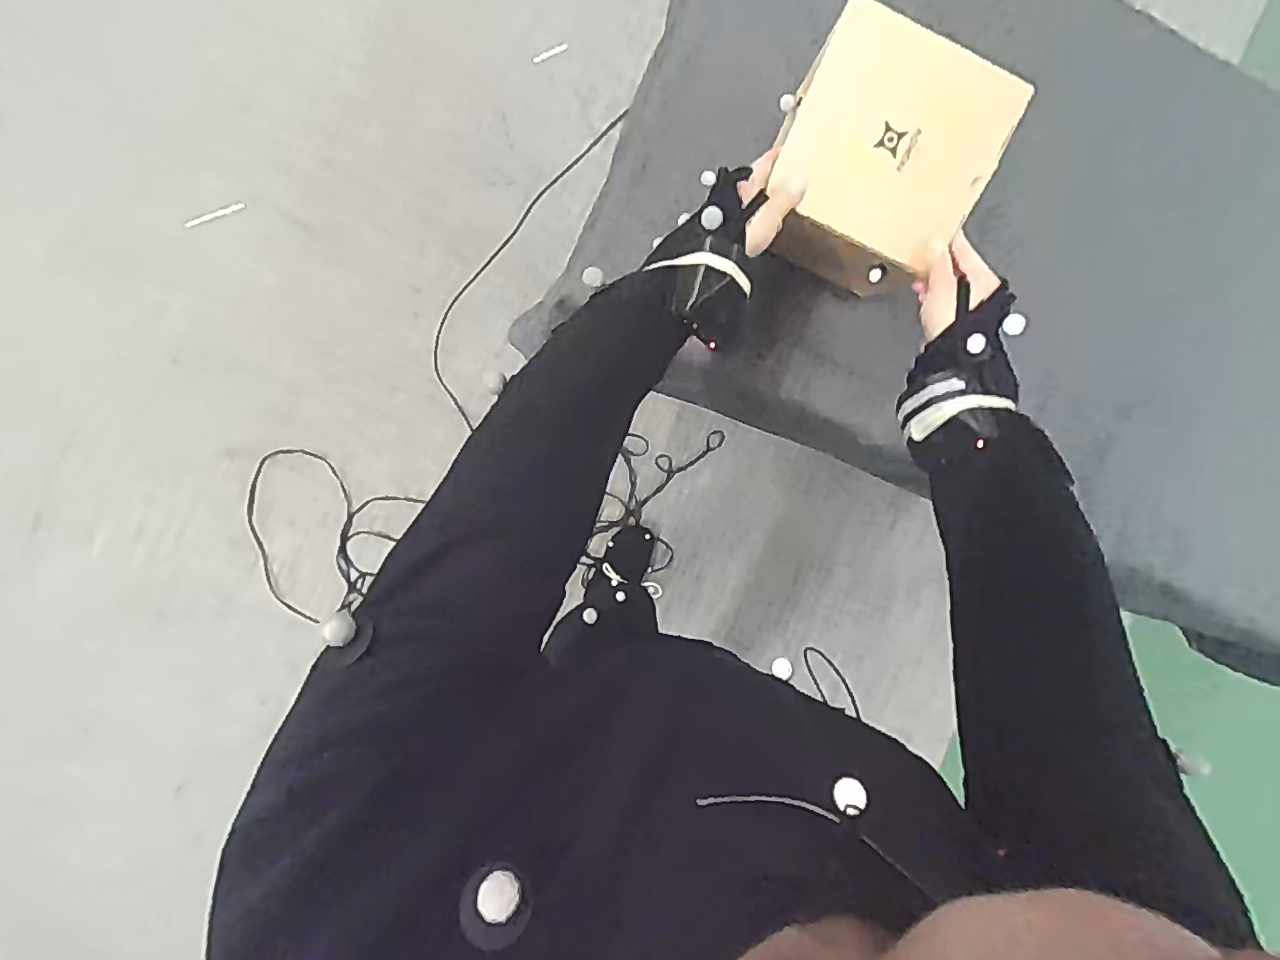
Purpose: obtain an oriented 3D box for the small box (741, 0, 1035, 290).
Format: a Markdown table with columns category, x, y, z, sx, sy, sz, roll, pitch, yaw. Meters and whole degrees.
| category | x | y | z | sx | sy | sz | roll | pitch | yaw |
| --- | --- | --- | --- | --- | --- | --- | --- | --- | --- |
| small box | 0.219 | -0.302 | 0.537 | 0.179 | 0.176 | 0.168 | 24 | 104 | -5 |
